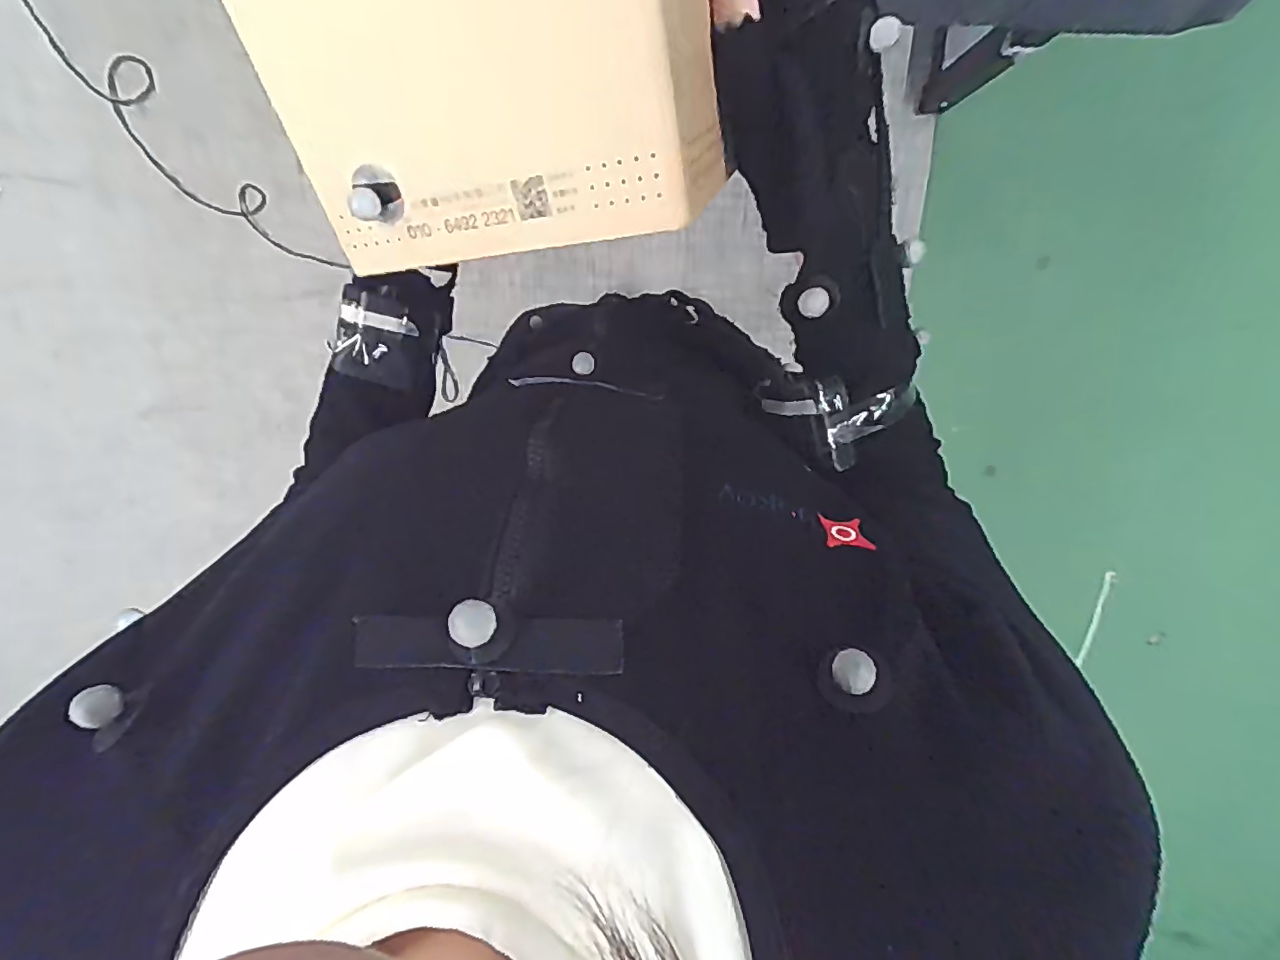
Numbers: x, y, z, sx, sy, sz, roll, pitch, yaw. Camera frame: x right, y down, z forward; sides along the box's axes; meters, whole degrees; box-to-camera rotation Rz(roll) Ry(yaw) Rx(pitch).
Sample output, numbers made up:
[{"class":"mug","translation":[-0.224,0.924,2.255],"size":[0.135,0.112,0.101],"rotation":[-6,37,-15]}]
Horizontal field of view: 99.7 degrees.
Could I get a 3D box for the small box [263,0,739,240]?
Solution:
[{"class":"small box","translation":[-0.050,-0.225,0.258],"size":[0.168,0.179,0.176],"rotation":[1,127,19]}]
